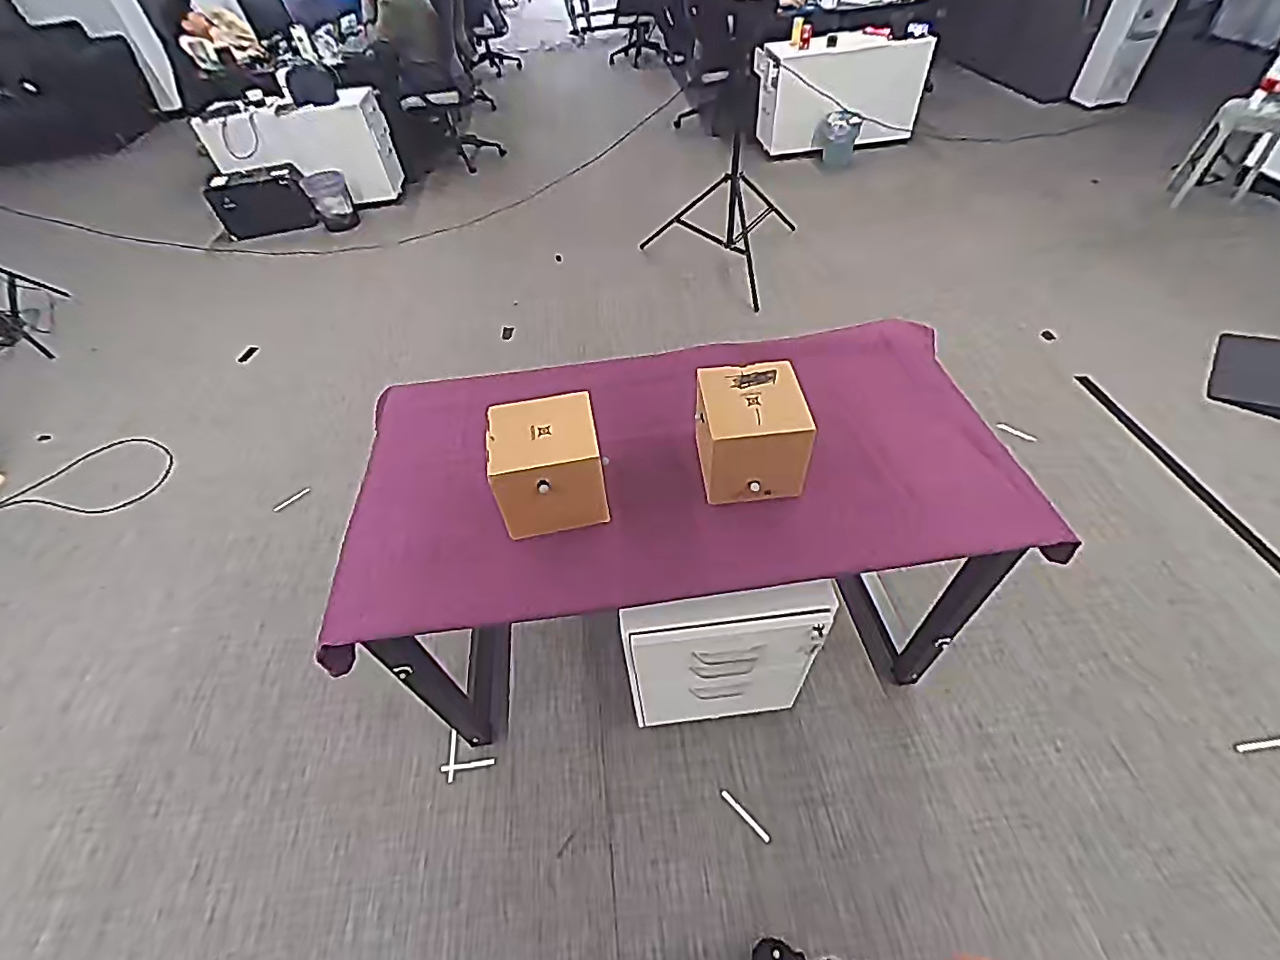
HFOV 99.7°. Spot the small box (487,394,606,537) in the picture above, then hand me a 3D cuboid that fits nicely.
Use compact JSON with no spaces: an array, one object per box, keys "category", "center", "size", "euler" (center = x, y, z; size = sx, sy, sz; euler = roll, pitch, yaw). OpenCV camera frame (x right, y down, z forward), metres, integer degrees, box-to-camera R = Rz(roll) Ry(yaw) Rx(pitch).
[{"category":"small box","center":[-0.157,-0.023,0.941],"size":[0.179,0.176,0.168],"euler":[-10,49,-4]}]

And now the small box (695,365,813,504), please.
[{"category":"small box","center":[0.190,-0.079,0.959],"size":[0.168,0.176,0.179],"euler":[-5,50,0]}]
